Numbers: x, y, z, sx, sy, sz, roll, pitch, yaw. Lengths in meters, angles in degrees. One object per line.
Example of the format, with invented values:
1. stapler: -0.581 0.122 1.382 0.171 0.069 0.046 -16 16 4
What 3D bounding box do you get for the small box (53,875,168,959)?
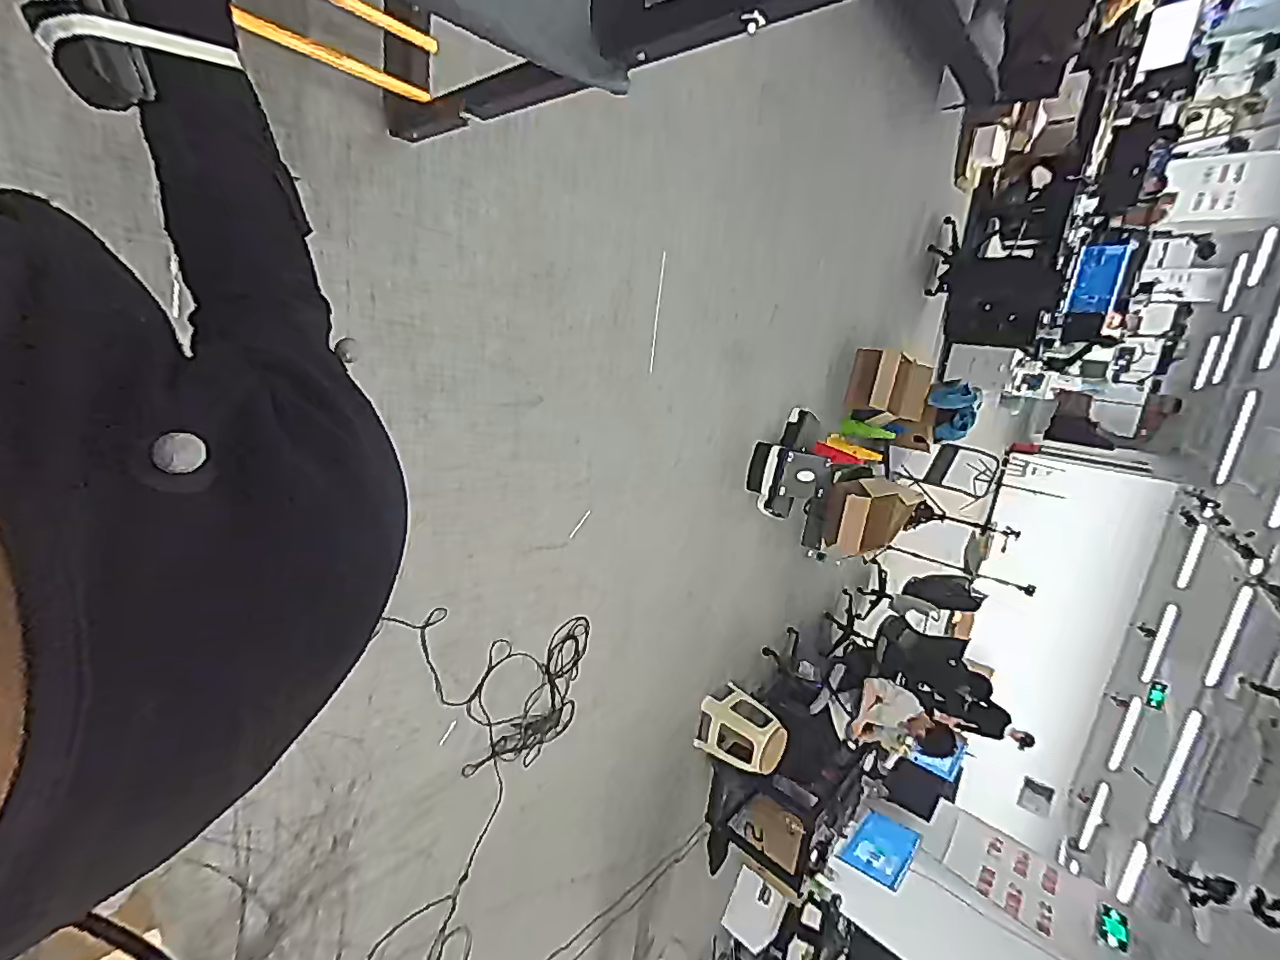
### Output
1. small box: -1.218 1.078 1.248 0.168 0.176 0.179 -13 112 -49
